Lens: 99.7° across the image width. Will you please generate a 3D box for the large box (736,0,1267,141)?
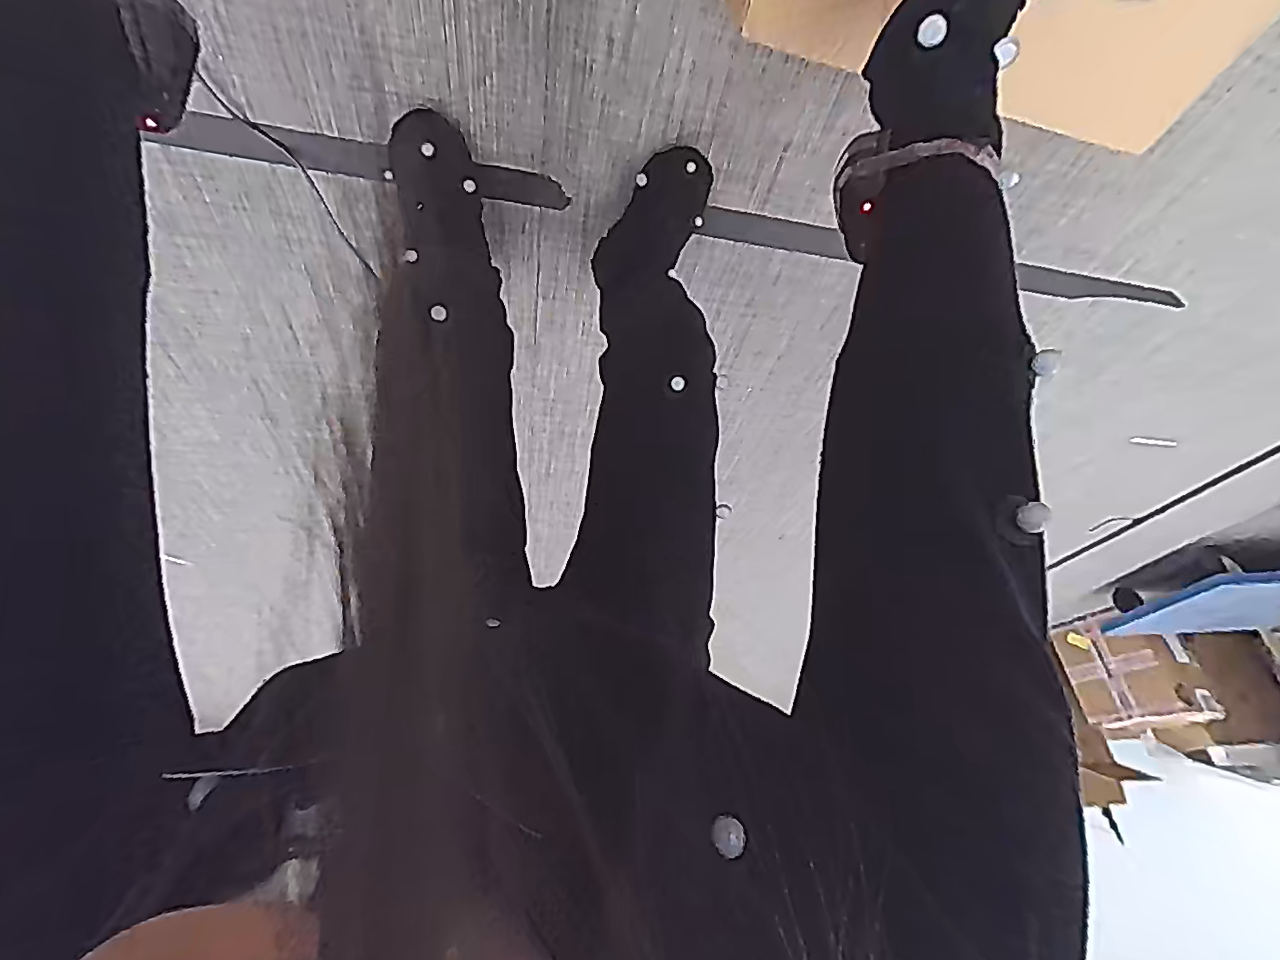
[{"bbox_3d":[0.298,-0.540,0.427,0.408,0.320,0.320,5,146,-14],"label":"large box"}]
